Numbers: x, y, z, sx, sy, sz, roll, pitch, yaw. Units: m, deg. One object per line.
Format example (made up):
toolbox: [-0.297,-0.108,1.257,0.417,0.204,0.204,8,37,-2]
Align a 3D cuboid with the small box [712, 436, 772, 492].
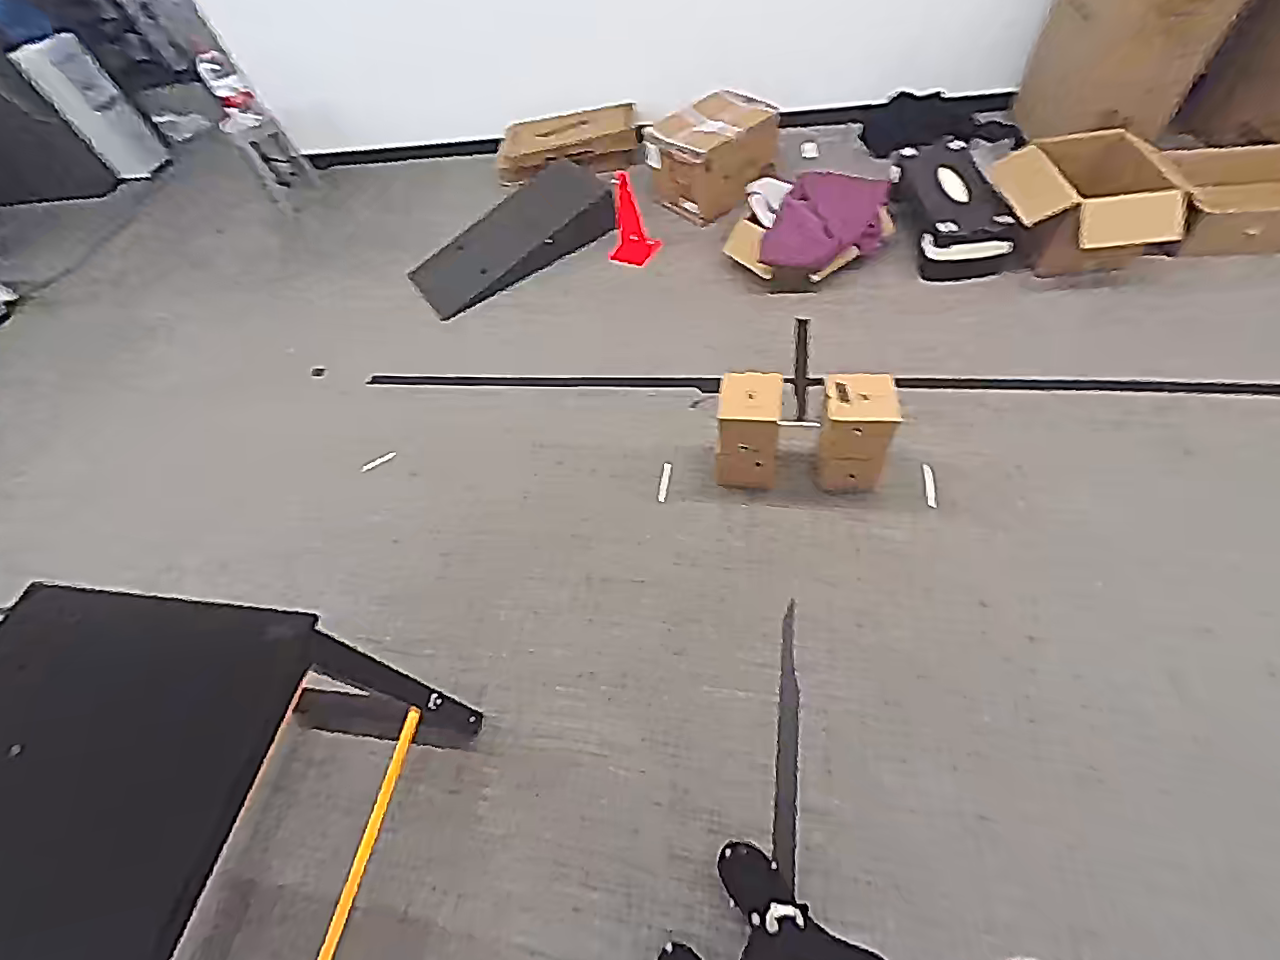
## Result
small box: [0.325,-0.075,1.699,0.179,0.176,0.168,4,56,13]

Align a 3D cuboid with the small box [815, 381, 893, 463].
small box: [0.588,-0.159,1.510,0.179,0.176,0.168,1,56,10]

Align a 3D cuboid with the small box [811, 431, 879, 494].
small box: [0.619,-0.069,1.645,0.168,0.176,0.179,1,57,11]

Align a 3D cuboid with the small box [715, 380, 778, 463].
small box: [0.309,-0.170,1.567,0.168,0.176,0.179,2,57,13]
